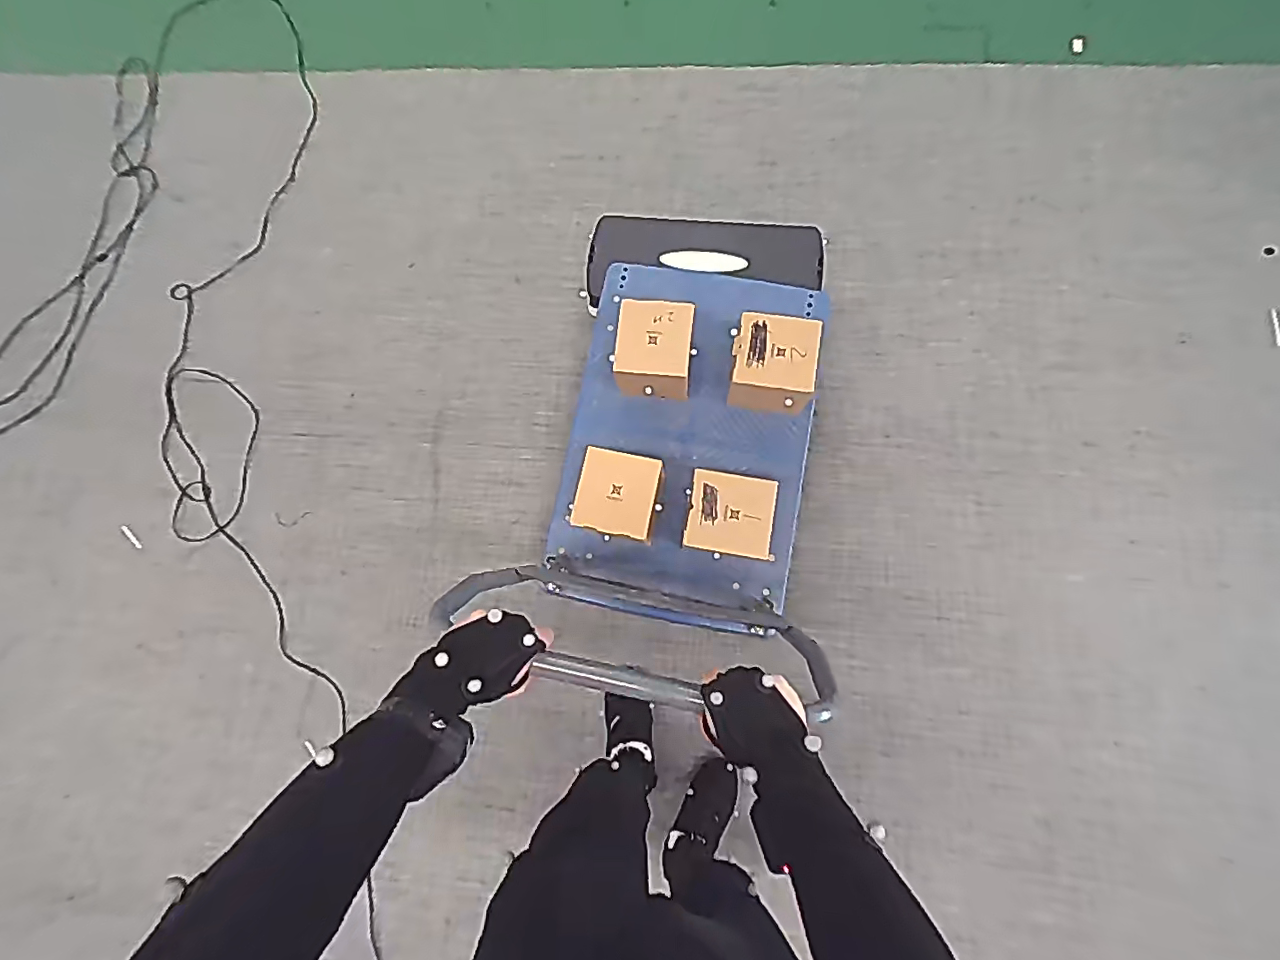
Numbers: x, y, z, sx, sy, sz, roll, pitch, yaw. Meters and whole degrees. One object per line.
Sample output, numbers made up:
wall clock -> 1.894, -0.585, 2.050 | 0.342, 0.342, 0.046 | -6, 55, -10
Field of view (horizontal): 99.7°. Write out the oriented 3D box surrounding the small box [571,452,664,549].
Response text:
small box -> -0.043, 0.053, 1.219 | 0.168, 0.176, 0.179 | 12, 81, 6

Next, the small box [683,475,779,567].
small box -> 0.193, 0.097, 1.190 | 0.179, 0.176, 0.168 | 10, 80, 6

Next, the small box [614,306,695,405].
small box -> 0.039, -0.286, 1.275 | 0.168, 0.176, 0.179 | 6, 80, 5
